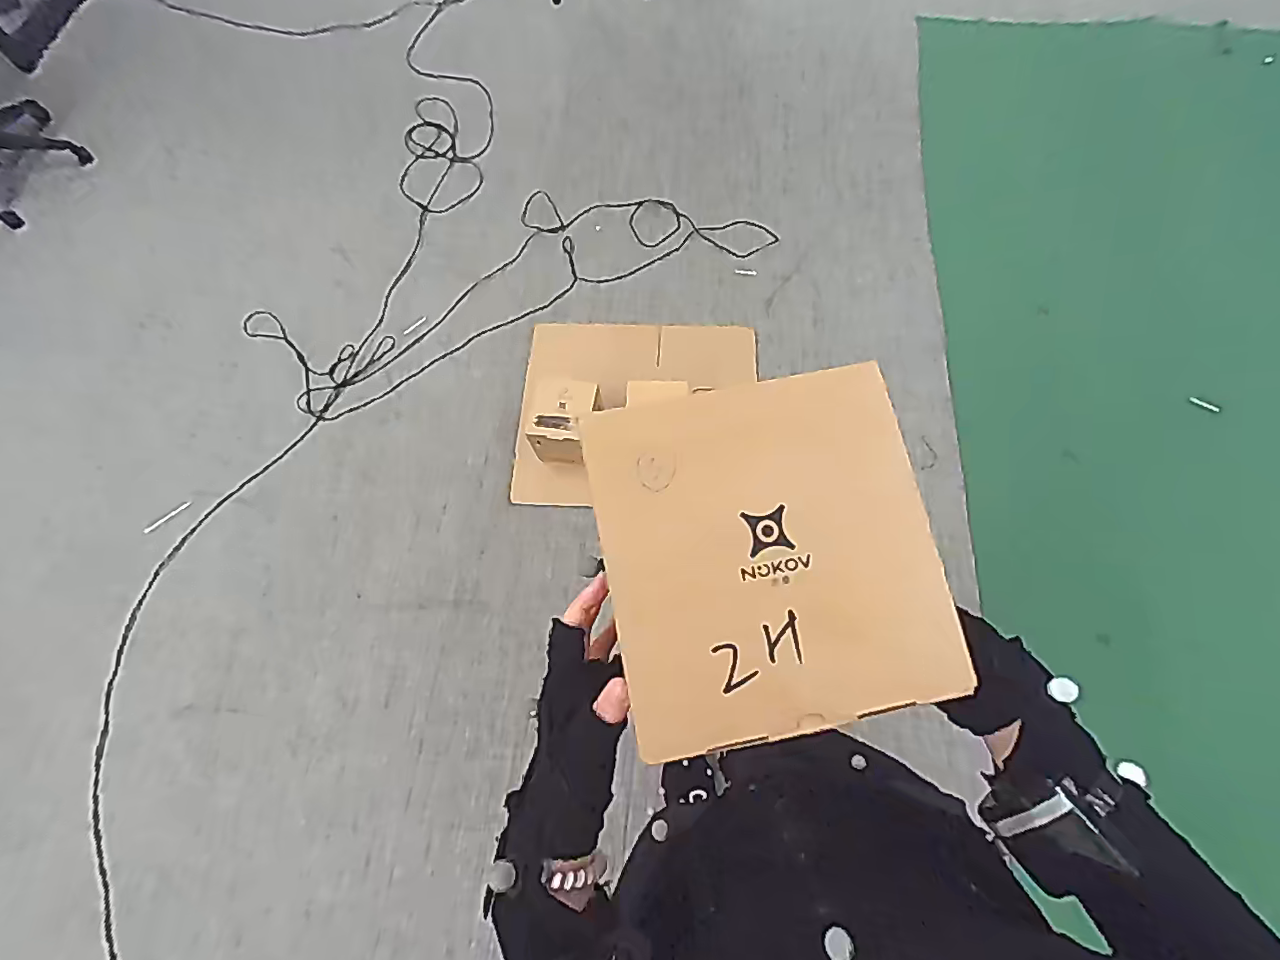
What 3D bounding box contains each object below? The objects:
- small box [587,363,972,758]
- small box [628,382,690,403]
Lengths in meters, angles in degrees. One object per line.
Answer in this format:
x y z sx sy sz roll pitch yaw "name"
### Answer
0.063 0.049 0.349 0.168 0.176 0.179 -11 79 -3 "small box"
0.049 -0.150 1.481 0.168 0.176 0.179 1 69 3 "small box"
